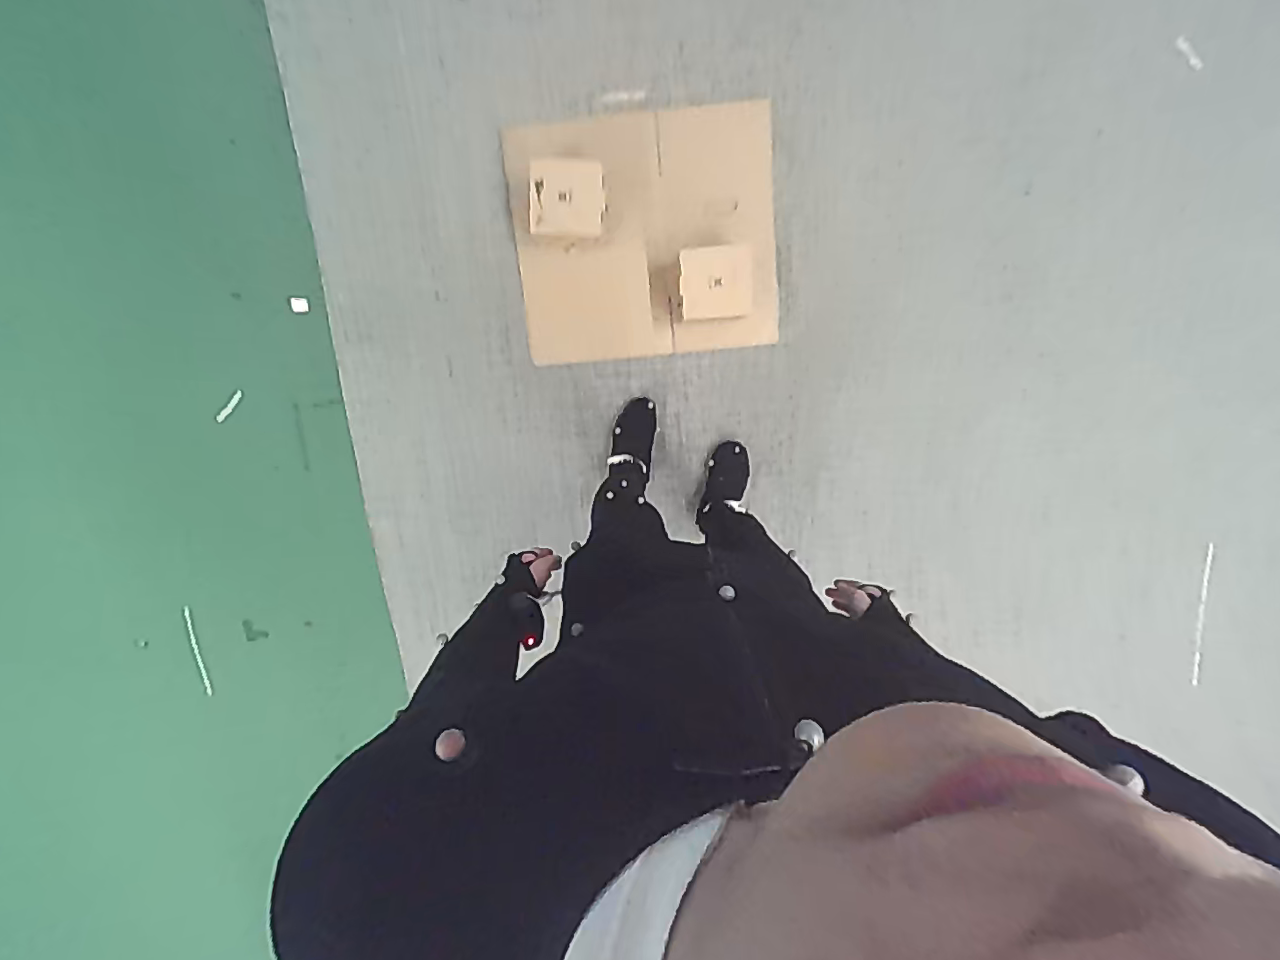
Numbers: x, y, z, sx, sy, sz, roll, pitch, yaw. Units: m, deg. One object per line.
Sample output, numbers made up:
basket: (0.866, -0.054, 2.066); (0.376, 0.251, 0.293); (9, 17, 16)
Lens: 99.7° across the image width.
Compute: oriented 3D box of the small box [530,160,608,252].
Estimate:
small box: (-0.172, -0.678, 1.355); (0.179, 0.176, 0.168); (3, 102, 0)

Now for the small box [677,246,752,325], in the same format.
small box: (0.186, -0.494, 1.392); (0.179, 0.176, 0.168); (-4, 102, 2)
